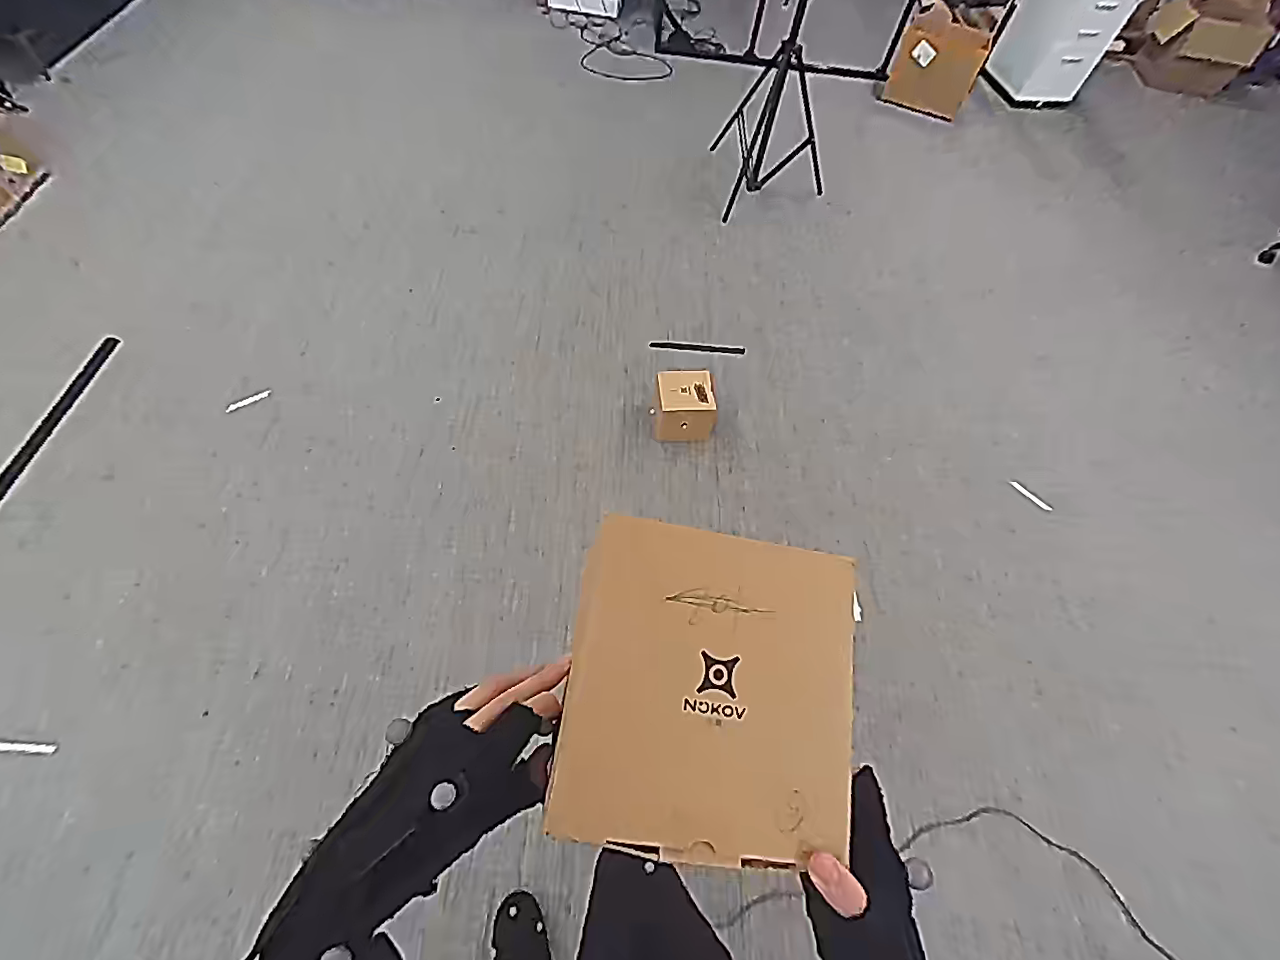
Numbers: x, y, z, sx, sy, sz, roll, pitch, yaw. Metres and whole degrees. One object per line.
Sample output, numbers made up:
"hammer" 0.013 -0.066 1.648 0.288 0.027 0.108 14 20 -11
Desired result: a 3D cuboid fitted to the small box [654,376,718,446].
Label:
"small box" 0.146 -0.226 1.789 0.179 0.176 0.168 -2 59 -6
